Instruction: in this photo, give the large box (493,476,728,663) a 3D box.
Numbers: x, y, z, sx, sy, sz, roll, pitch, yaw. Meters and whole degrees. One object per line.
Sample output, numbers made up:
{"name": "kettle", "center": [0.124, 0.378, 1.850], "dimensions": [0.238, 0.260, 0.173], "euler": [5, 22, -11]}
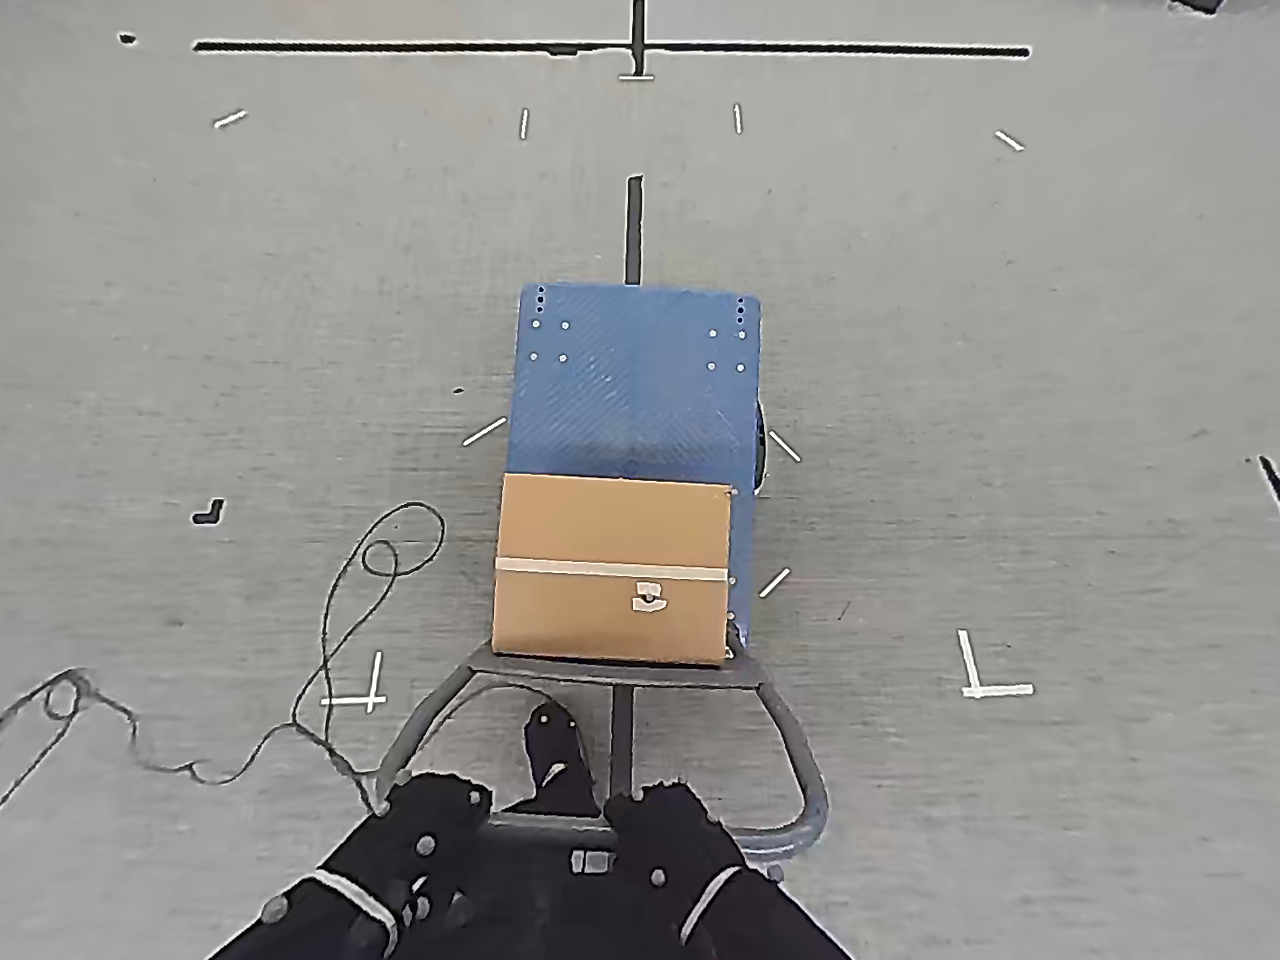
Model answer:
{"name": "large box", "center": [-0.052, 0.168, 1.086], "dimensions": [0.408, 0.320, 0.320], "euler": [3, 86, -1]}
